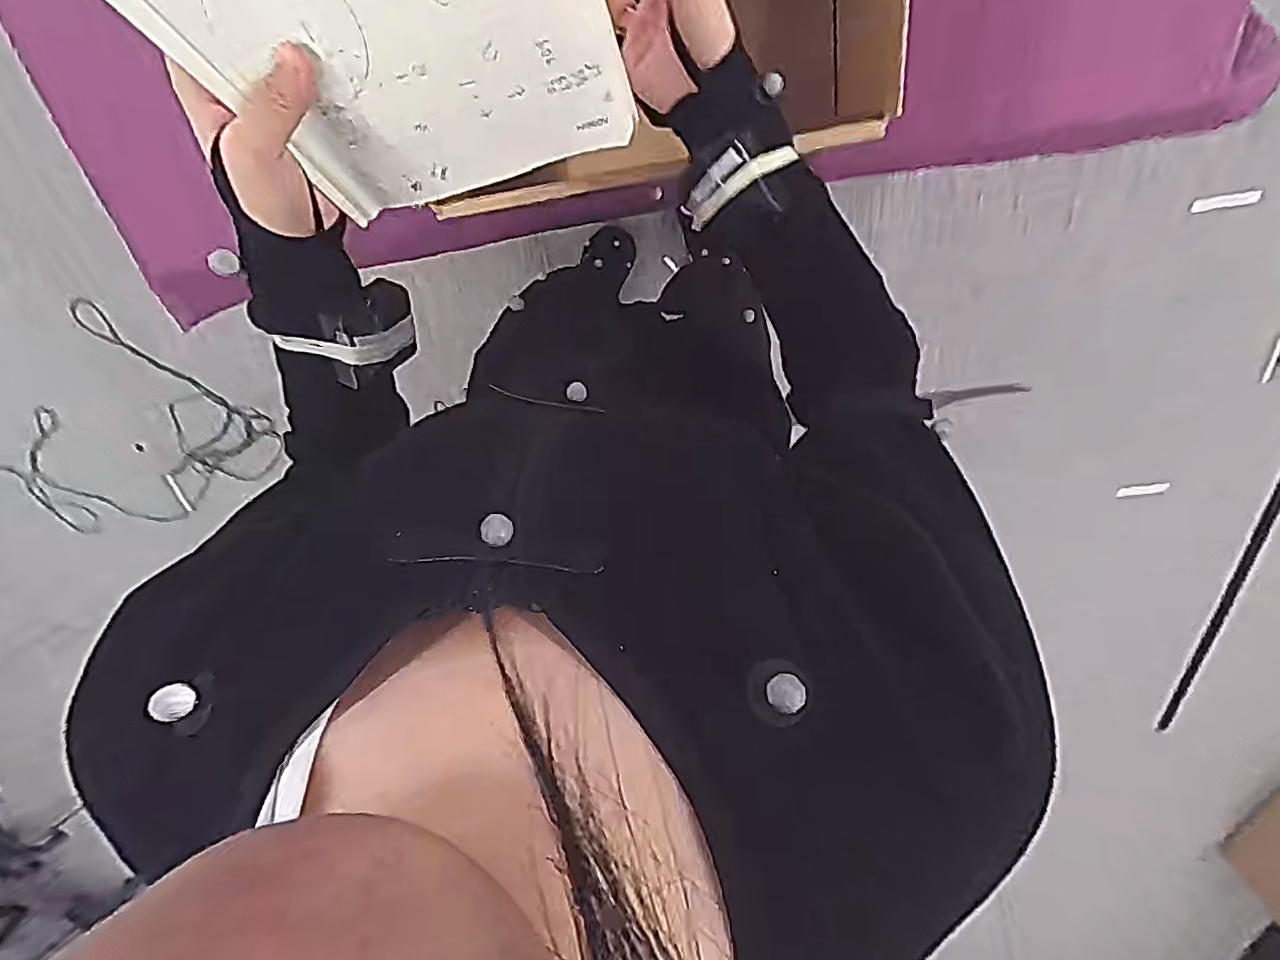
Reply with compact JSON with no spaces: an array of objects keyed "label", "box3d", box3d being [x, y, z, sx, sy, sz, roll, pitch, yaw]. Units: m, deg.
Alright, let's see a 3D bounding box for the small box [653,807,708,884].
[{"label":"small box","box3d":[0.139,1.278,1.902,0.168,0.176,0.179,-10,120,6]}]
